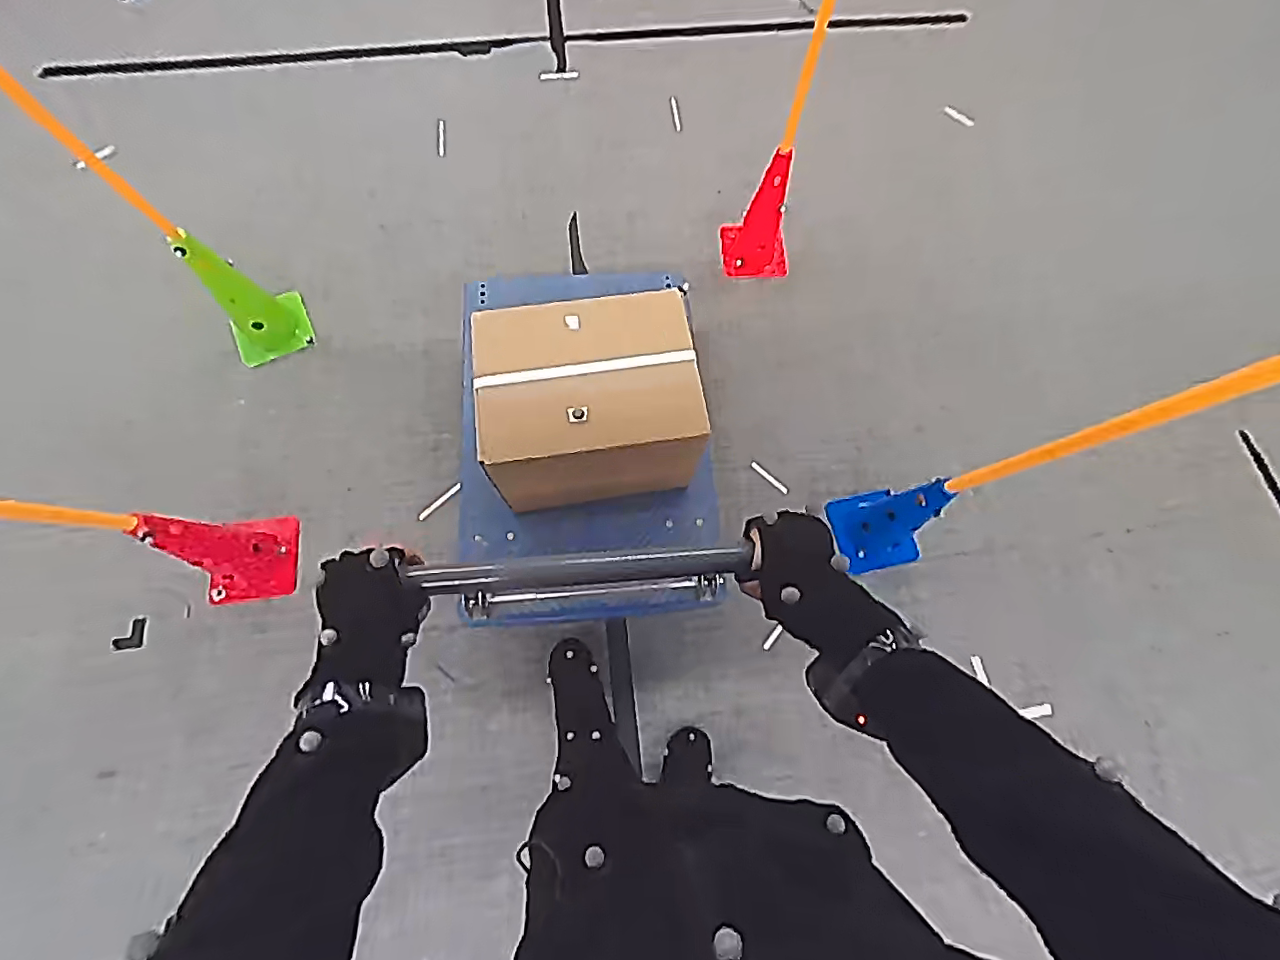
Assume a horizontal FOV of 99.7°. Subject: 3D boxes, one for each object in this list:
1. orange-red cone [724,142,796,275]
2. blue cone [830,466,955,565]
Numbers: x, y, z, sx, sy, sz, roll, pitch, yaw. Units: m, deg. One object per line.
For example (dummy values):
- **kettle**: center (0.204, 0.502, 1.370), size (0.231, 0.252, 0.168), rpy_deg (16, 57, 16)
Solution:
- **orange-red cone**: center (0.367, -0.774, 1.512), size (0.199, 0.360, 0.198), rpy_deg (0, 71, -3)
- **blue cone**: center (0.608, 0.063, 1.244), size (0.193, 0.380, 0.192), rpy_deg (-10, 70, -6)
